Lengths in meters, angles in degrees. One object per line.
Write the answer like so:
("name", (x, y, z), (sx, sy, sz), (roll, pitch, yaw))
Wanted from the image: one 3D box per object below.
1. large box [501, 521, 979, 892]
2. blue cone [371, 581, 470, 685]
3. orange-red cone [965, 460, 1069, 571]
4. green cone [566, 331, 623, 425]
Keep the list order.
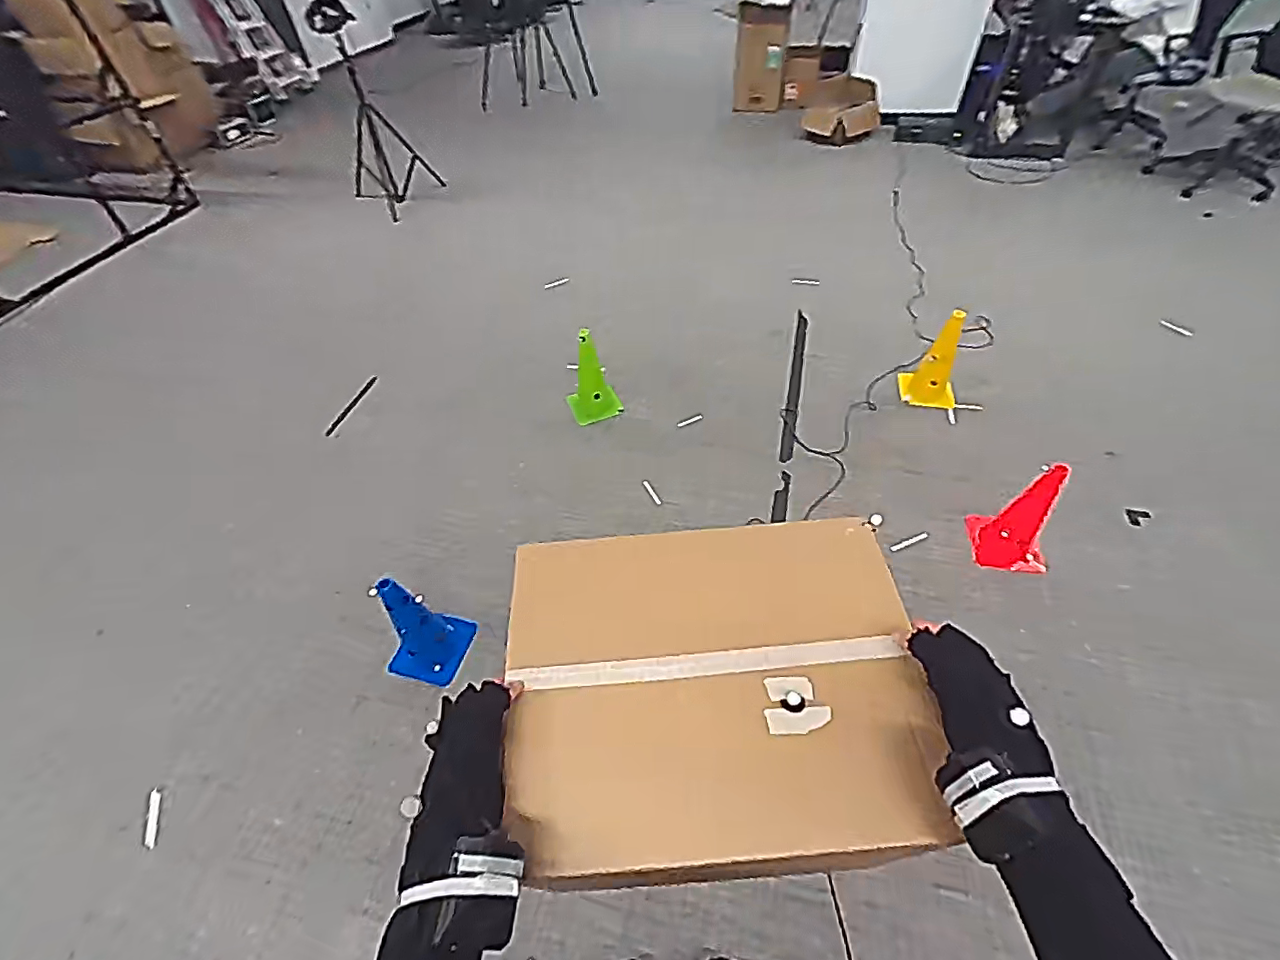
("large box", (0.078, 0.276, 0.647), (0.408, 0.320, 0.320), (-4, 51, 0))
("blue cone", (-0.623, 0.389, 1.467), (0.192, 0.380, 0.193), (10, 50, 15))
("orange-red cone", (1.136, 0.077, 1.578), (0.198, 0.360, 0.199), (7, 48, 9))
("green cone", (-0.207, -0.428, 2.131), (0.202, 0.368, 0.200), (-21, 50, -12))
